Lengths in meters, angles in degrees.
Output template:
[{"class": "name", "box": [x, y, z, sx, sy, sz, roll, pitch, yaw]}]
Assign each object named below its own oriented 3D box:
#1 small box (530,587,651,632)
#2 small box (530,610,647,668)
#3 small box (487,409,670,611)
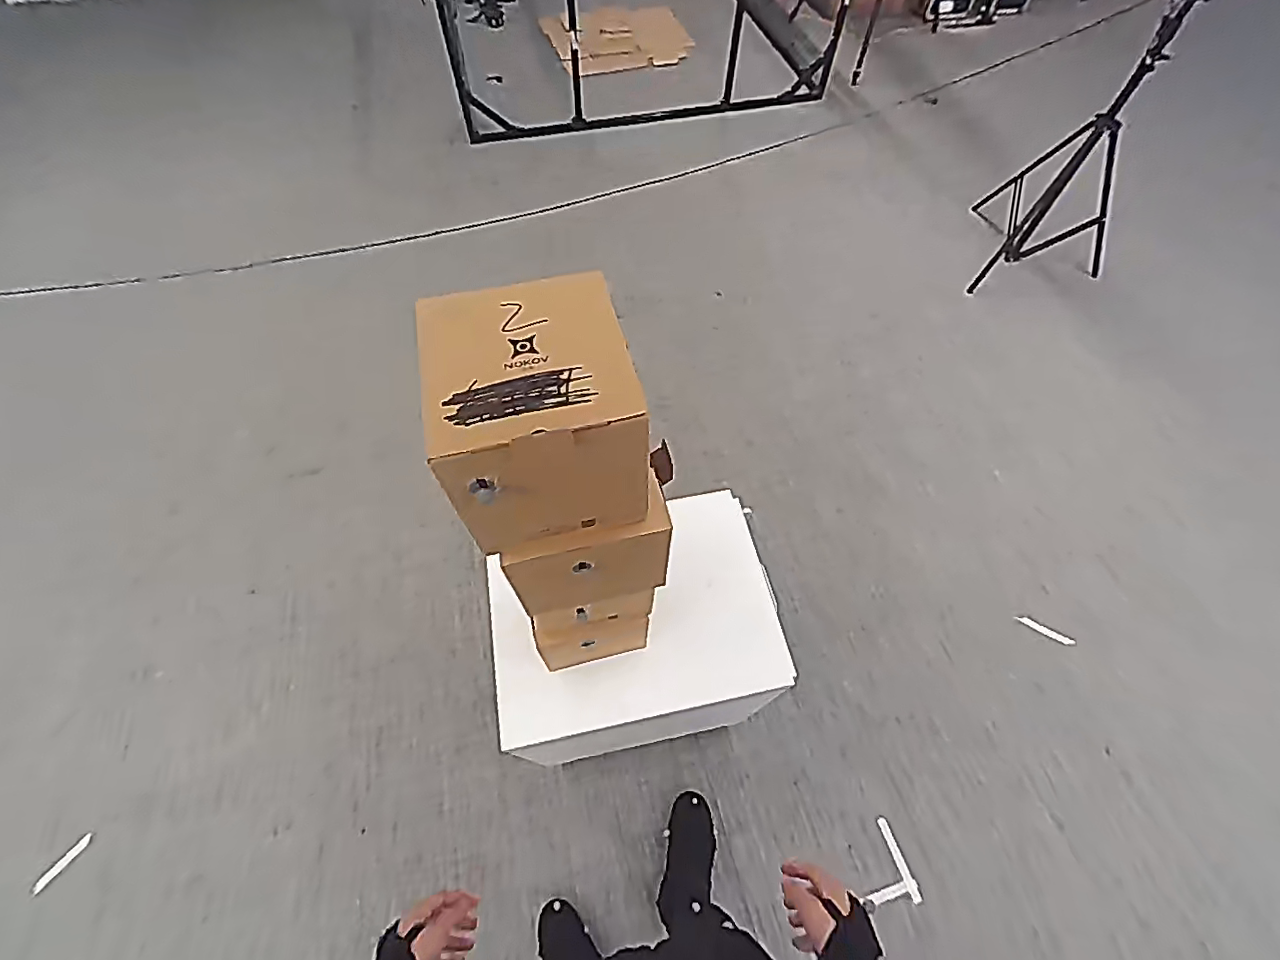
[{"class": "small box", "box": [-0.080, 0.111, 0.793, 0.168, 0.176, 0.179, -11, 59, -8]}, {"class": "small box", "box": [-0.092, 0.208, 0.924, 0.179, 0.176, 0.168, -11, 61, -9]}, {"class": "small box", "box": [-0.070, 0.042, 0.643, 0.179, 0.176, 0.168, -11, 60, -8]}]
